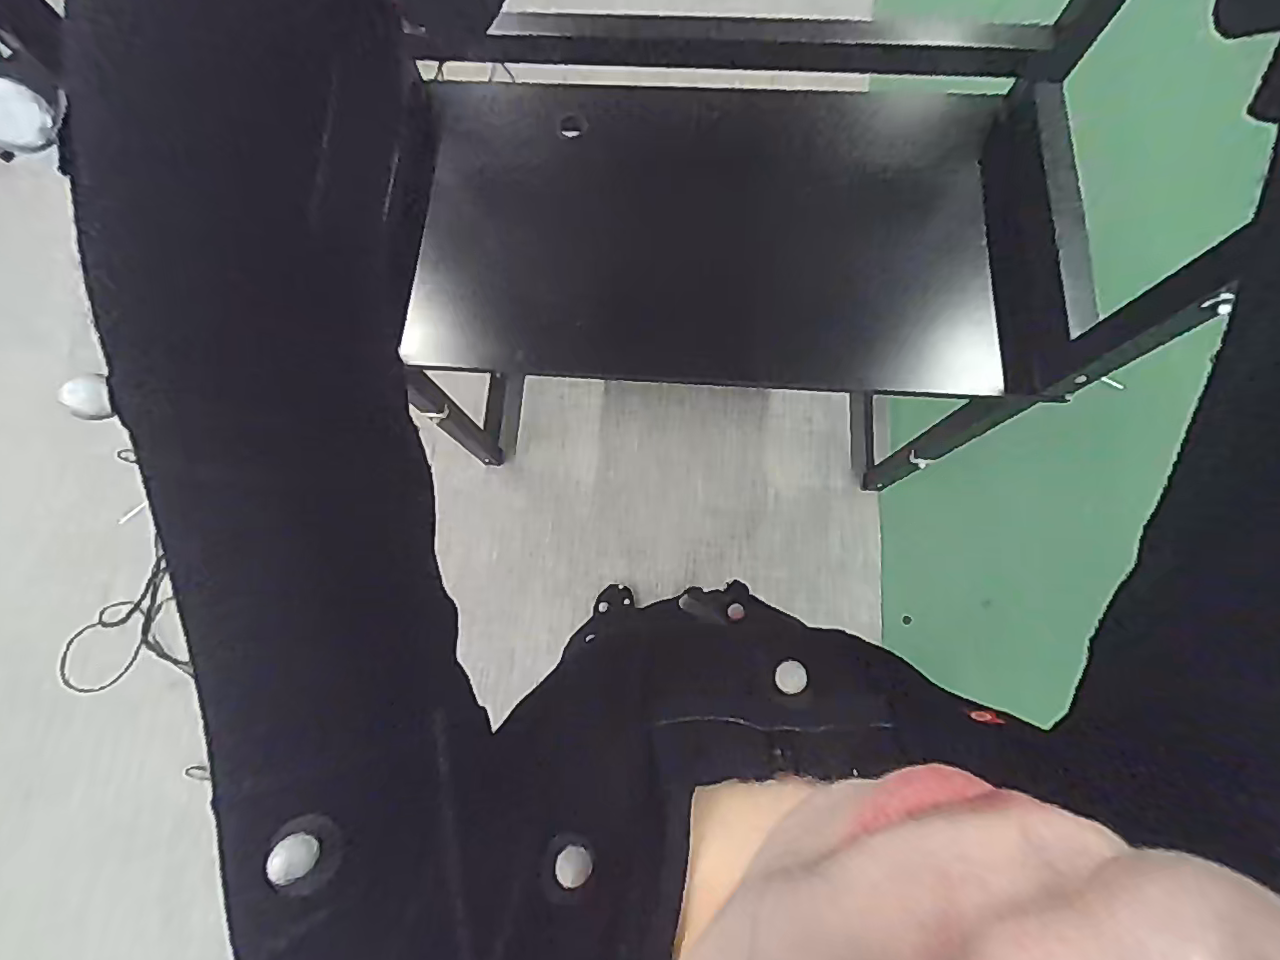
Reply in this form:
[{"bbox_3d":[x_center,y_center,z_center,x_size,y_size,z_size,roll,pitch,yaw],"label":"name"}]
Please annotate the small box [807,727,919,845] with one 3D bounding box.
[{"bbox_3d":[0.470,0.643,1.160,0.179,0.176,0.168,10,76,5],"label":"small box"}]
